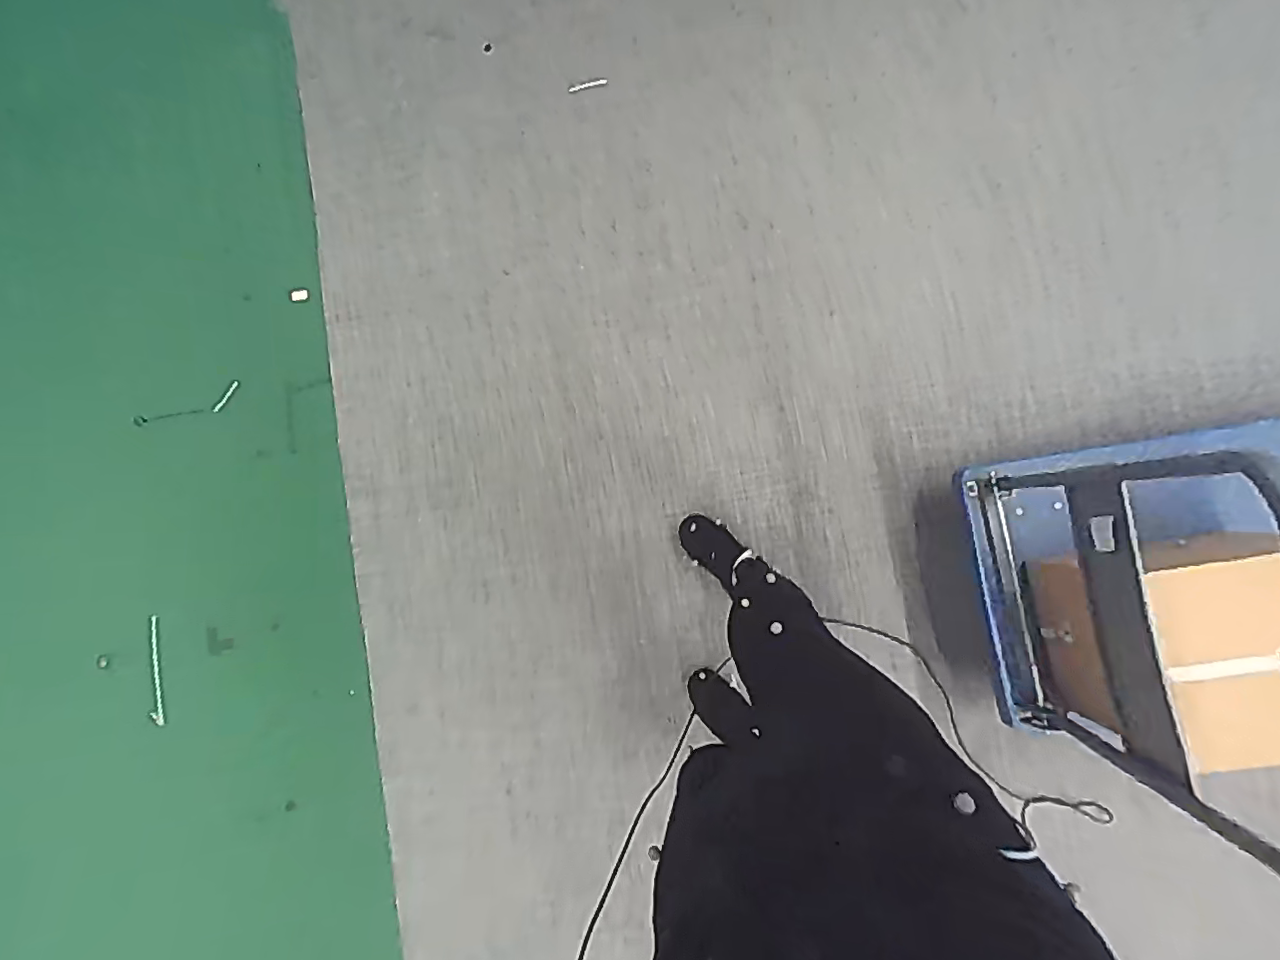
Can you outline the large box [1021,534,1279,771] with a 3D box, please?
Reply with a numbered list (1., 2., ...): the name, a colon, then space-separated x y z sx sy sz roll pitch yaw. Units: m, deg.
1. large box: 1.024 0.284 0.990 0.408 0.320 0.320 -10 85 5
